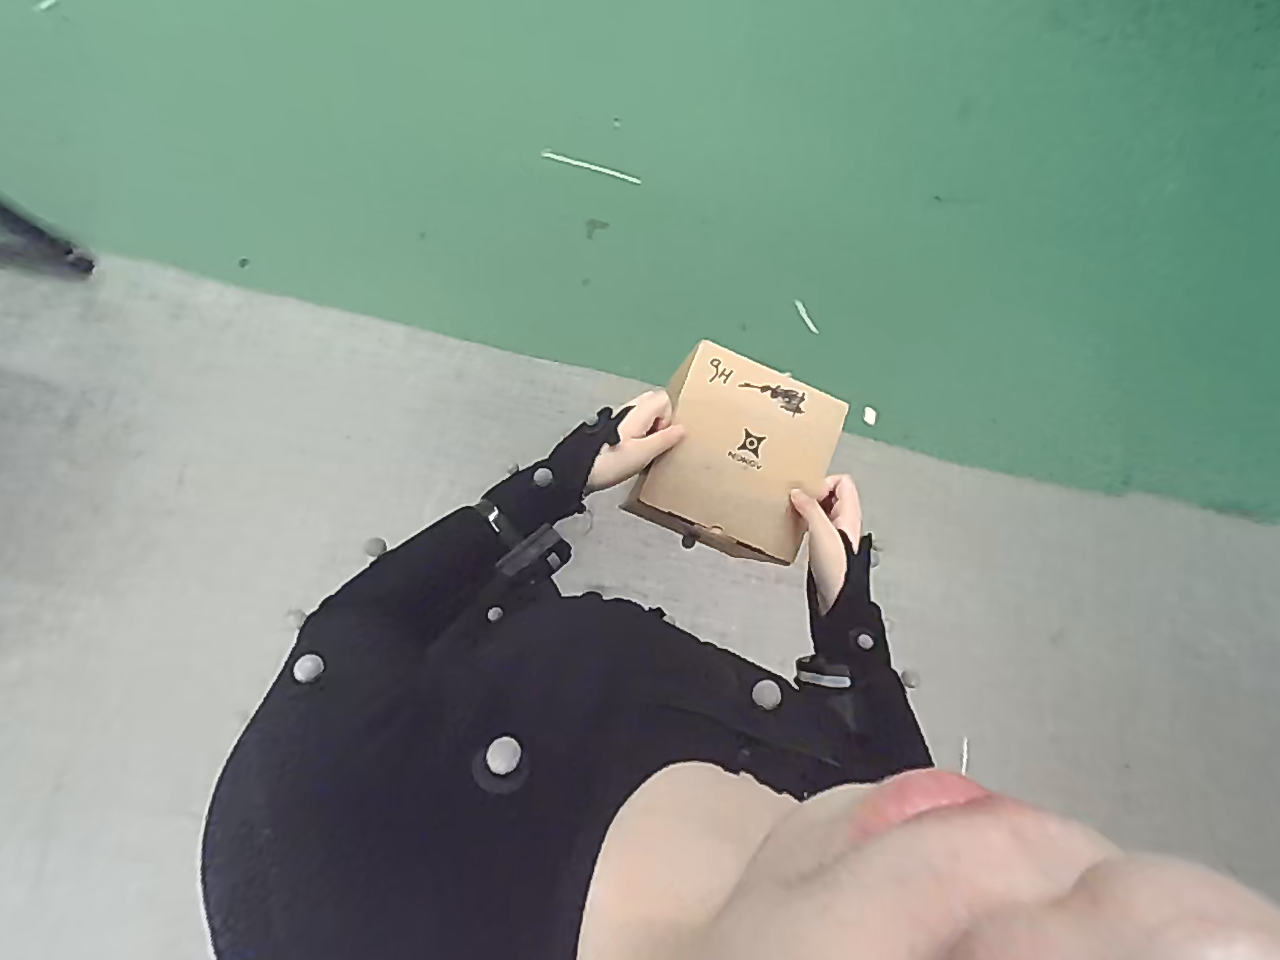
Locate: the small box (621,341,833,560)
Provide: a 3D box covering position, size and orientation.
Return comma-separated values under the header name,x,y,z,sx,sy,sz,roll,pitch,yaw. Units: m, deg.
name,x,y,z,sx,sy,sz,roll,pitch,yaw
small box,0.083,-0.025,0.614,0.168,0.176,0.179,21,85,-6
